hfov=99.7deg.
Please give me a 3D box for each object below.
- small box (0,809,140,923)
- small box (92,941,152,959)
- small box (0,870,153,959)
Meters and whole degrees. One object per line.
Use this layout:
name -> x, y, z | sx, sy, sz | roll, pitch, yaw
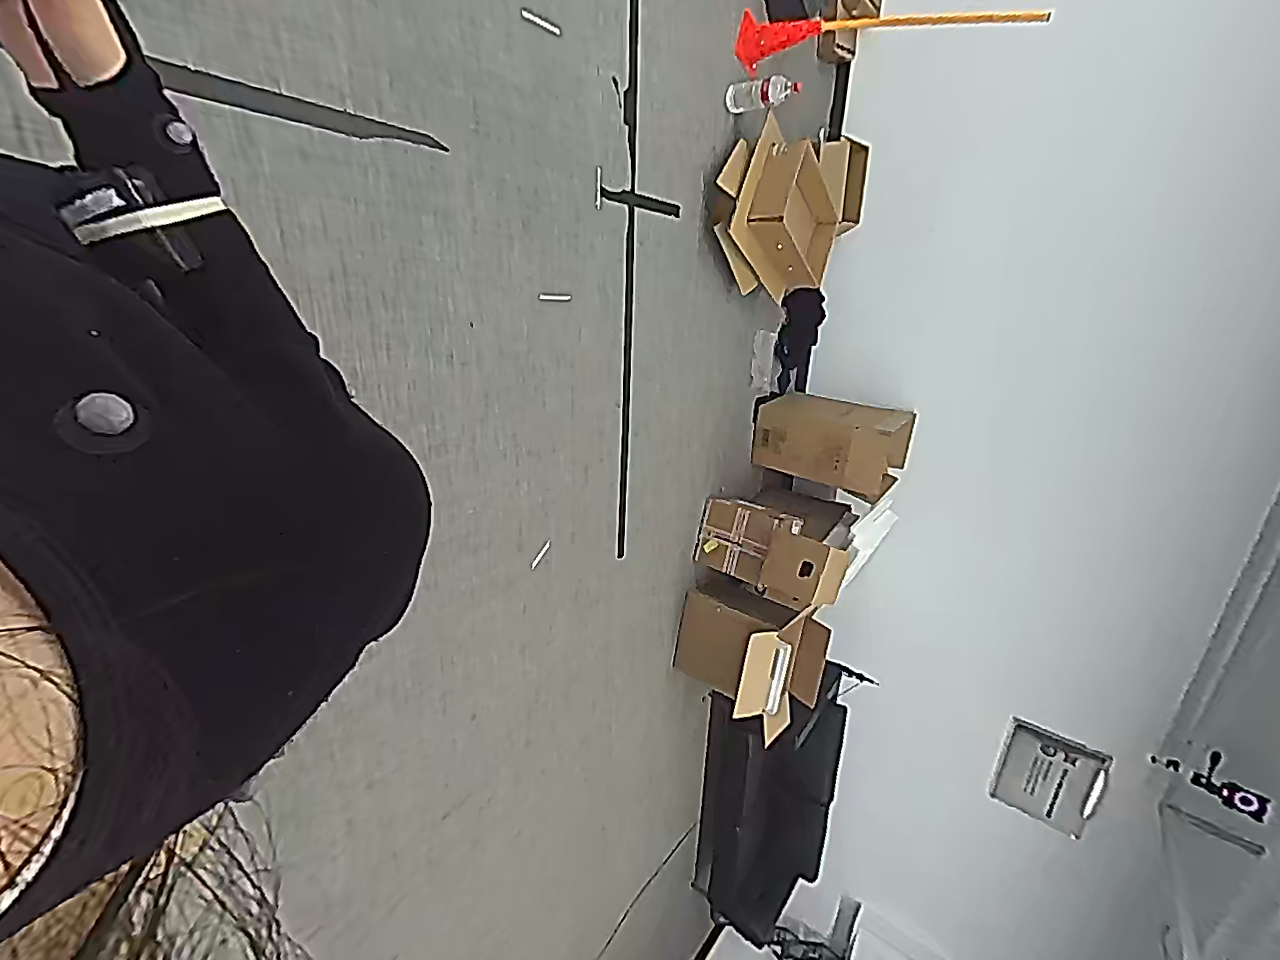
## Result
small box -> -1.000, 0.713, 0.919 | 0.168, 0.176, 0.179 | -25, 122, -47
small box -> -0.744, 0.787, 0.730 | 0.168, 0.176, 0.179 | -30, 126, -43
small box -> -0.875, 0.747, 0.820 | 0.168, 0.176, 0.179 | -25, 124, -46
